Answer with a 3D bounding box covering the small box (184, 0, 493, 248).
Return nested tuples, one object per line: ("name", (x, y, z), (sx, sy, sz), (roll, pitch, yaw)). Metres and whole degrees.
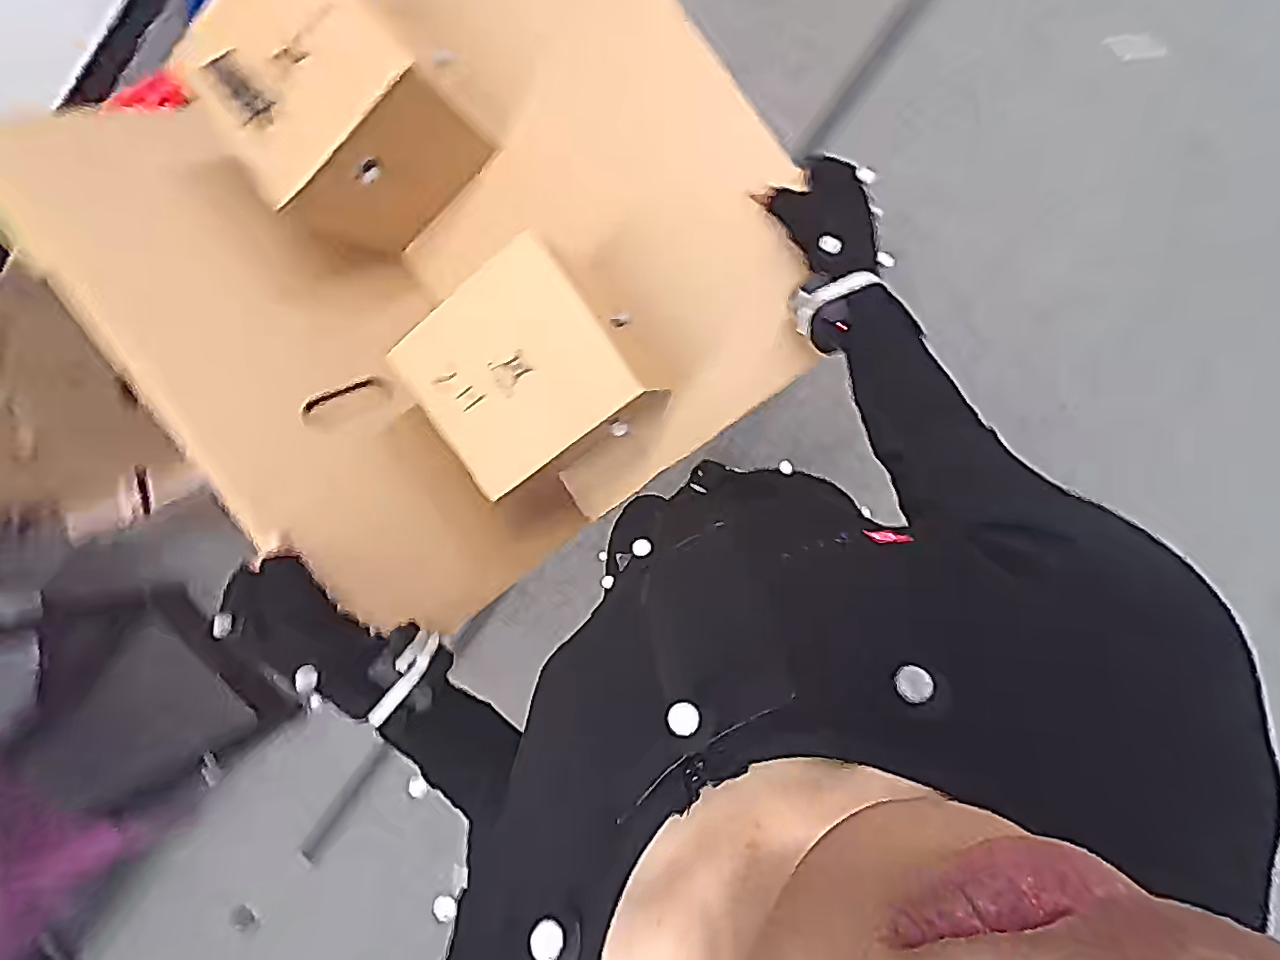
("small box", (-0.286, -0.369, 0.547), (0.179, 0.176, 0.168), (-37, 91, 15))
